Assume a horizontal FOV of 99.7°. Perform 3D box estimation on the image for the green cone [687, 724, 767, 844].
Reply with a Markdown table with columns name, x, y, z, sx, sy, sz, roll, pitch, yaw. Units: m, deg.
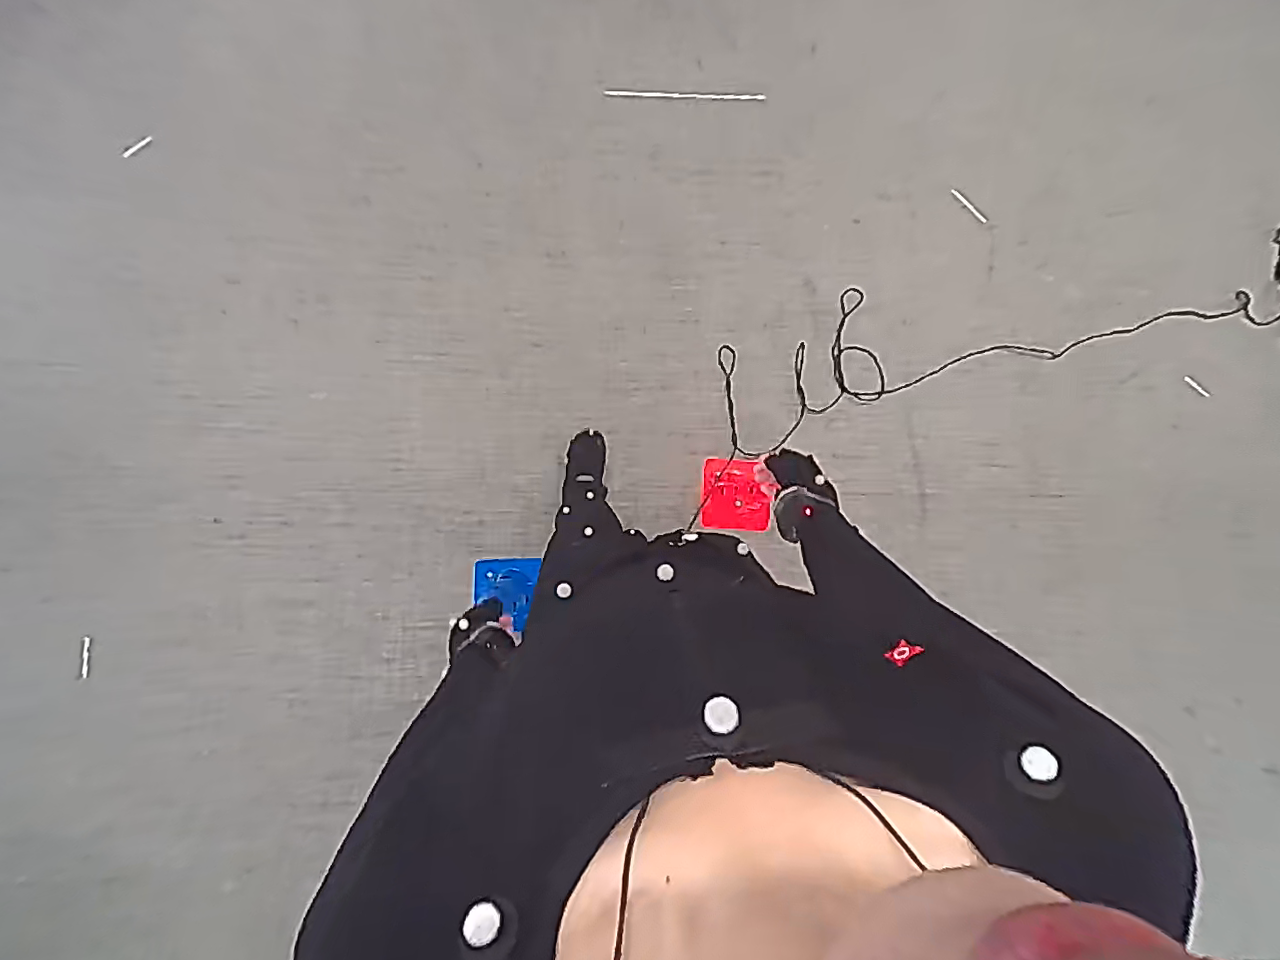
| name | x | y | z | sx | sy | sz | roll | pitch | yaw |
| --- | --- | --- | --- | --- | --- | --- | --- | --- | --- |
| green cone | 0.239 | 0.756 | 1.299 | 0.200 | 0.368 | 0.202 | 3 | 85 | -3 |

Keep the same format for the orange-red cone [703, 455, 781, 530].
| name | x | y | z | sx | sy | sz | roll | pitch | yaw |
| --- | --- | --- | --- | --- | --- | --- | --- | --- | --- |
| orange-red cone | 0.287 | 0.028 | 1.352 | 0.198 | 0.360 | 0.199 | 5 | 88 | -1 |
